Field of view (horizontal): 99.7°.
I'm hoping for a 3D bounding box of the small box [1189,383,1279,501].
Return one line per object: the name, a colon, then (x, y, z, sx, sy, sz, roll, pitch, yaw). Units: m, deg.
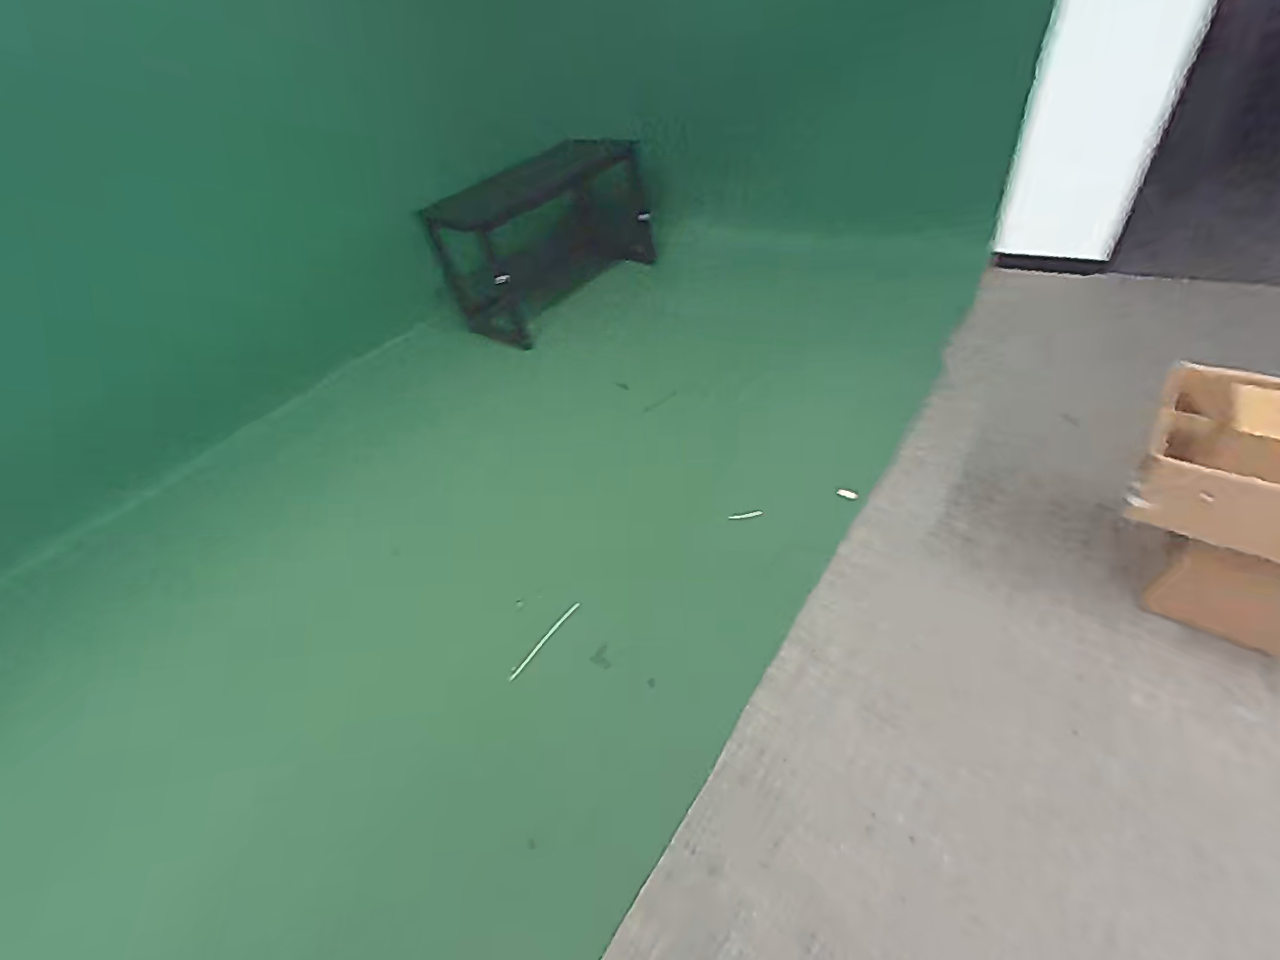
small box: (1.368, -0.085, 1.200, 0.168, 0.176, 0.179, 19, 53, 30)
